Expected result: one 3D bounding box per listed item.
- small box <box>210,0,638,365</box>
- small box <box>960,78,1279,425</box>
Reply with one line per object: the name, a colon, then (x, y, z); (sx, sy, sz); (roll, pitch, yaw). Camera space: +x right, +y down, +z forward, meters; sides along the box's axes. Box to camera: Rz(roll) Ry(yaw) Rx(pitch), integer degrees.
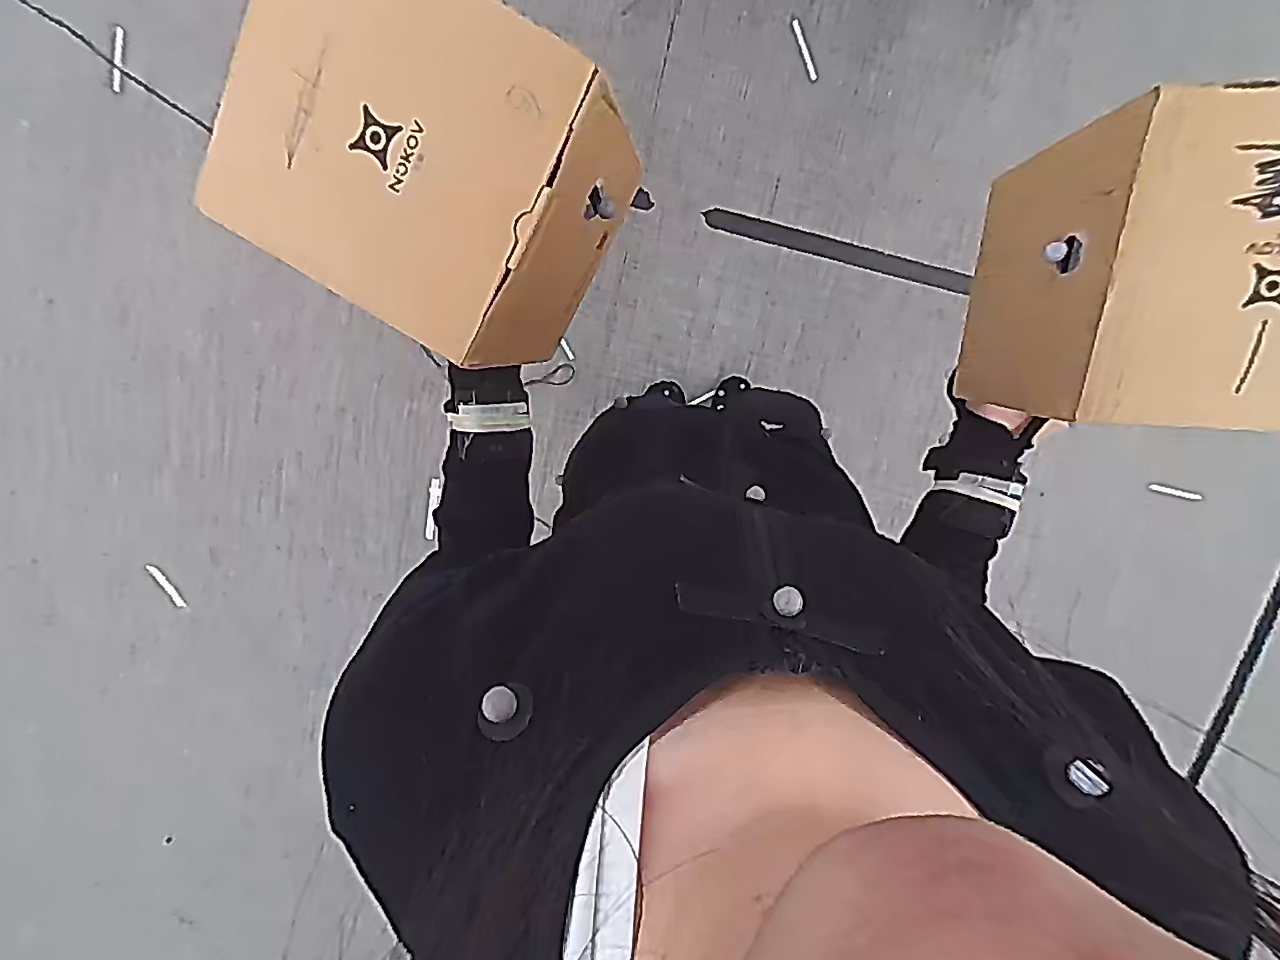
small box: (-0.117, -0.193, 0.358); (0.179, 0.176, 0.168); (30, 105, 0)
small box: (0.350, -0.137, 0.369); (0.168, 0.176, 0.179); (4, 105, 6)
